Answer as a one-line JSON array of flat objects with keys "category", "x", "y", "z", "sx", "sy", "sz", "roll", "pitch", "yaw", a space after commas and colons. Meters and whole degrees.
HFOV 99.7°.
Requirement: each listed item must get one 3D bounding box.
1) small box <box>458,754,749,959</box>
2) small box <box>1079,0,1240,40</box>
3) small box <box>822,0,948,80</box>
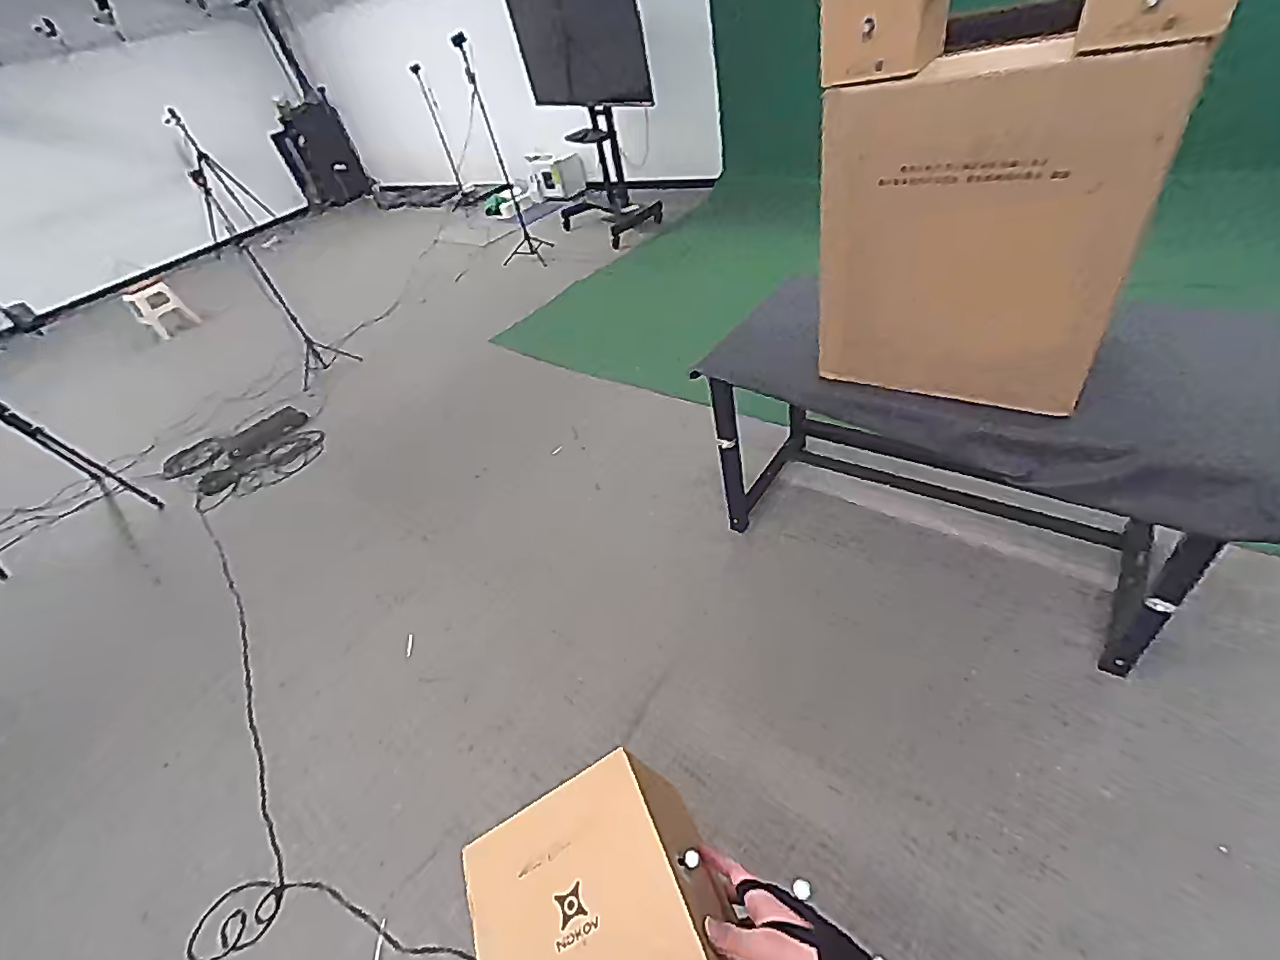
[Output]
[{"category": "small box", "x": -0.026, "y": 0.377, "z": 0.462, "sx": 0.168, "sy": 0.176, "sz": 0.179, "roll": -32, "pitch": 43, "yaw": -2}, {"category": "small box", "x": 0.728, "y": -0.720, "z": 0.728, "sx": 0.168, "sy": 0.176, "sz": 0.179, "roll": 19, "pitch": 53, "yaw": 33}, {"category": "small box", "x": 0.428, "y": -0.820, "z": 0.939, "sx": 0.168, "sy": 0.176, "sz": 0.179, "roll": 18, "pitch": 52, "yaw": 34}]
